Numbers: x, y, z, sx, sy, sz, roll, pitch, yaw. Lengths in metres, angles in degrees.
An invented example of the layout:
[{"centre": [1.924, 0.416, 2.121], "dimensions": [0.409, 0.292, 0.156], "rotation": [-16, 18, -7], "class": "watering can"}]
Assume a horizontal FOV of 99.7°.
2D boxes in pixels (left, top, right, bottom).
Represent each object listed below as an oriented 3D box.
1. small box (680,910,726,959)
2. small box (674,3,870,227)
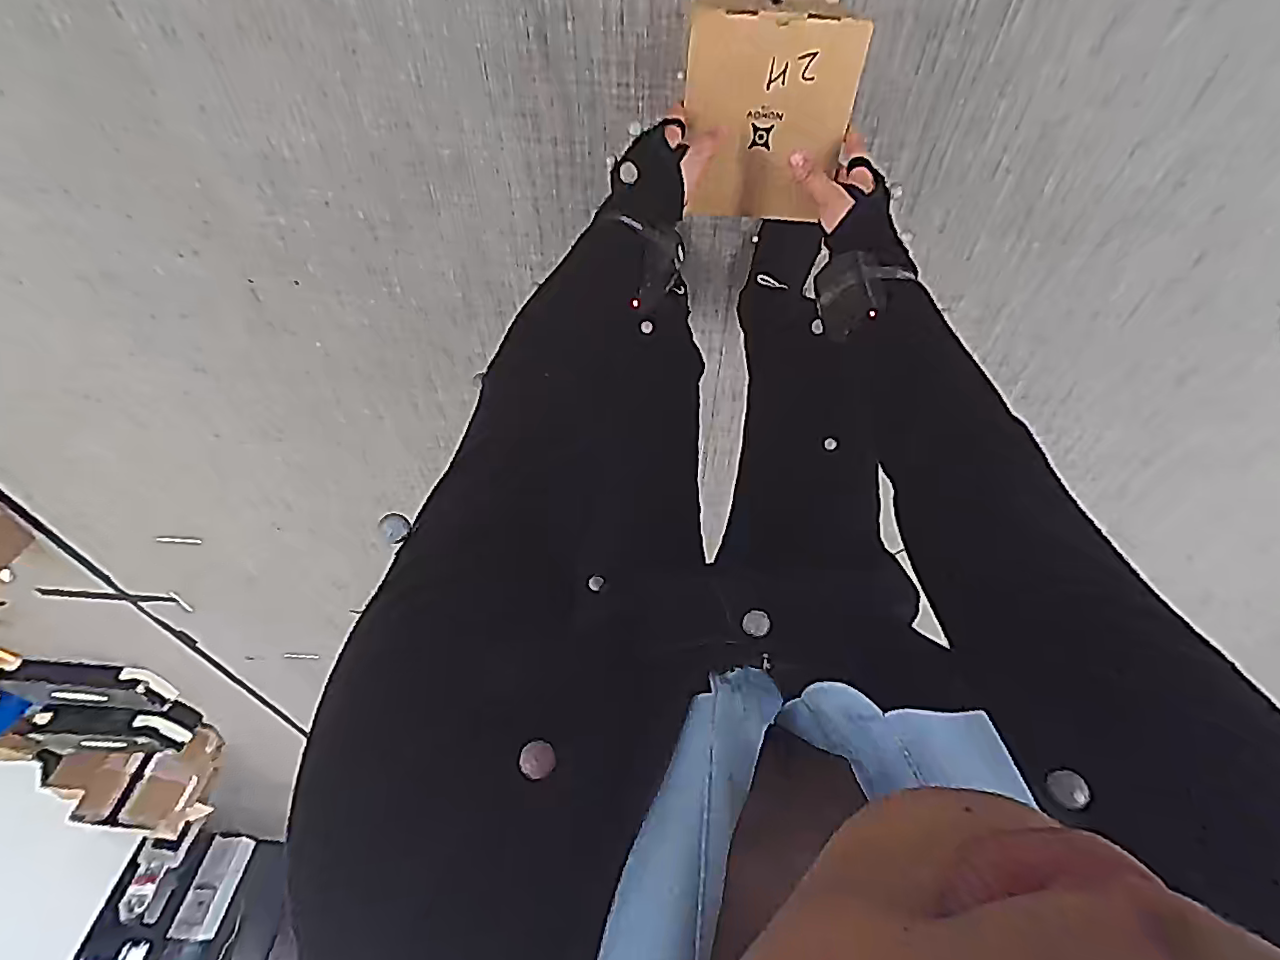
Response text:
[{"centre": [0.239, 1.767, 2.066], "dimensions": [0.168, 0.176, 0.179], "rotation": [1, 135, 3], "class": "small box"}, {"centre": [0.129, -0.402, 0.596], "dimensions": [0.168, 0.176, 0.179], "rotation": [4, 133, 2], "class": "small box"}]
